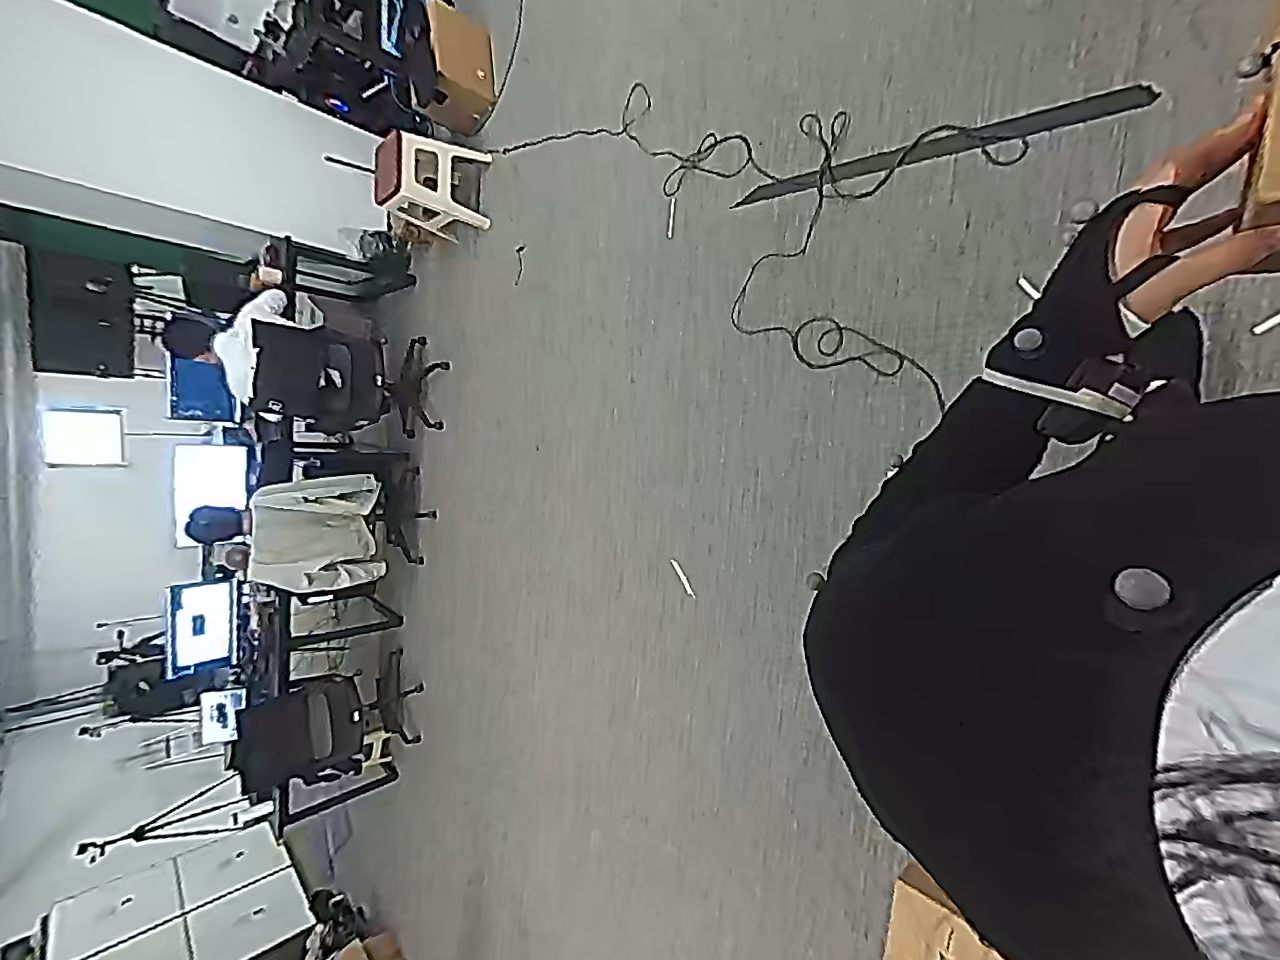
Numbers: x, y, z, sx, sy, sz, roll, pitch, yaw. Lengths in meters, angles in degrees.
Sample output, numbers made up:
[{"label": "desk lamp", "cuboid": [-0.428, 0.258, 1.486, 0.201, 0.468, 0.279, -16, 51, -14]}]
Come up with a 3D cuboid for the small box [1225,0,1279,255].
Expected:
[{"label": "small box", "cuboid": [0.439, -0.239, 0.278, 0.168, 0.176, 0.179, 9, 98, 43]}]

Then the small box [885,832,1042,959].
[{"label": "small box", "cuboid": [0.509, 0.710, 0.850, 0.168, 0.176, 0.179, 11, 96, 45]}]
